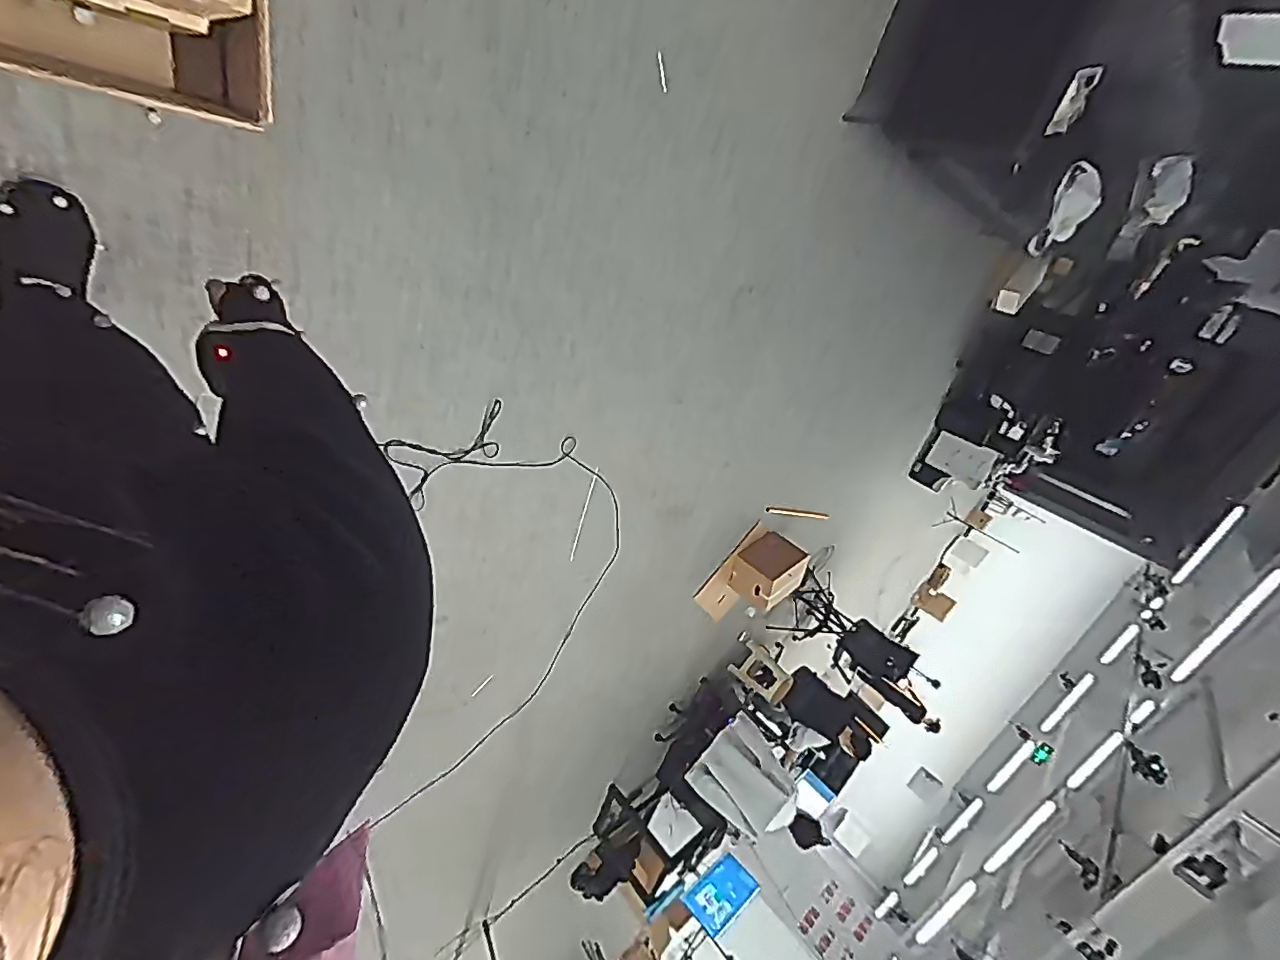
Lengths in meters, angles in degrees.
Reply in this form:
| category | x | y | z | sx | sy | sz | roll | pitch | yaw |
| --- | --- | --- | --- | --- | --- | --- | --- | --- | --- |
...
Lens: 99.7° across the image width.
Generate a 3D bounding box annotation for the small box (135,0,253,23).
| category | x | y | z | sx | sy | sz | roll | pitch | yaw |
| --- | --- | --- | --- | --- | --- | --- | --- | --- | --- |
| small box | -0.387 | -0.445 | 0.364 | 0.168 | 0.176 | 0.179 | -16 | 130 | -42 |
